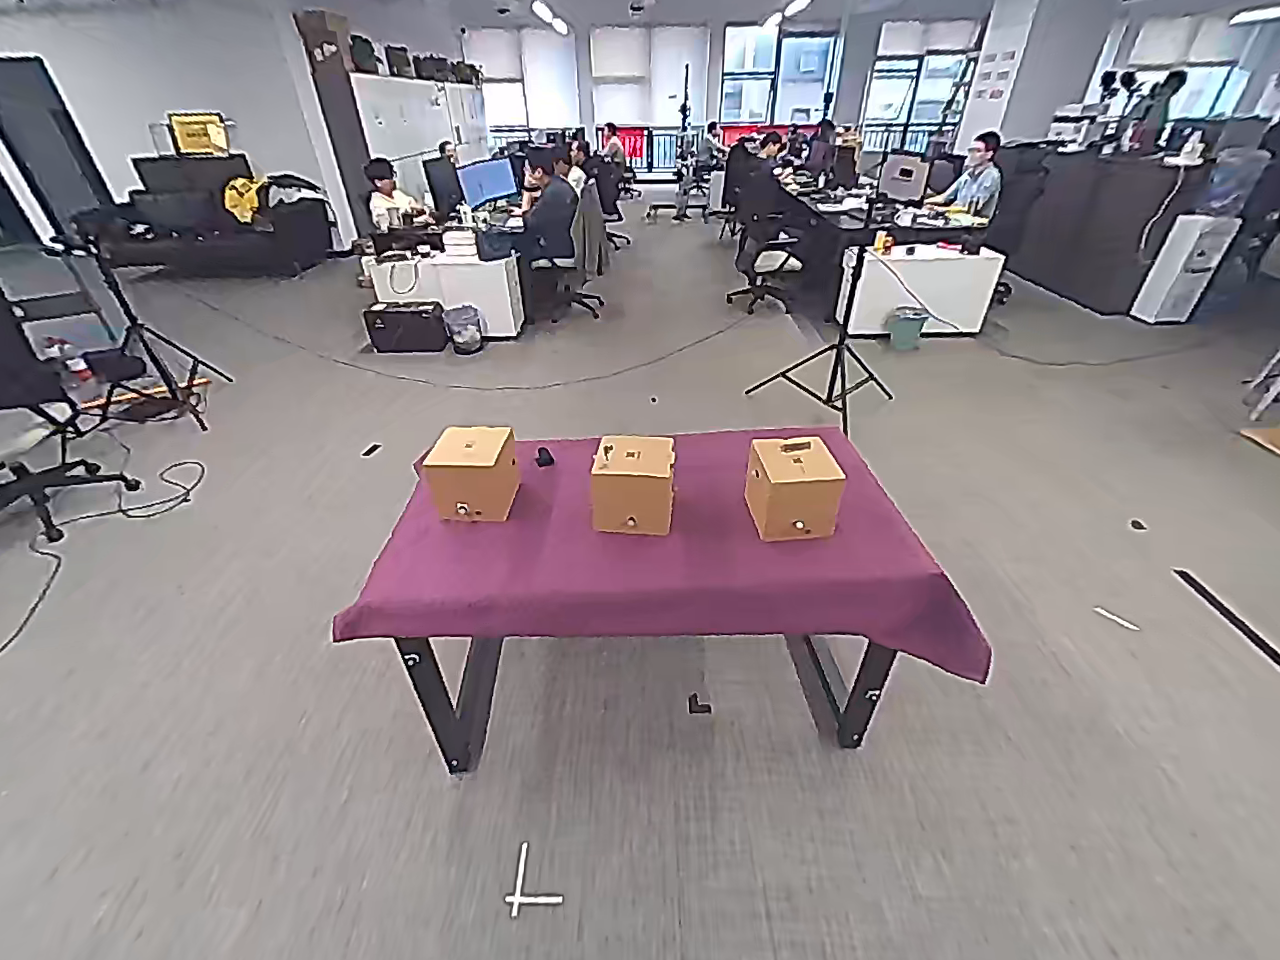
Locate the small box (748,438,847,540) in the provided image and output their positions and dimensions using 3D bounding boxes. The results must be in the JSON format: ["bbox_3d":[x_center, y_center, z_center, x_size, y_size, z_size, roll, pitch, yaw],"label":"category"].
[{"bbox_3d":[0.354,0.019,1.256,0.168,0.176,0.179,-4,35,-3],"label":"small box"}]

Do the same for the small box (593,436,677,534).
[{"bbox_3d":[-0.009,0.013,1.277,0.179,0.176,0.168,3,35,6],"label":"small box"}]

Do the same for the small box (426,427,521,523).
[{"bbox_3d":[-0.397,-0.014,1.326,0.168,0.176,0.179,0,36,3],"label":"small box"}]
